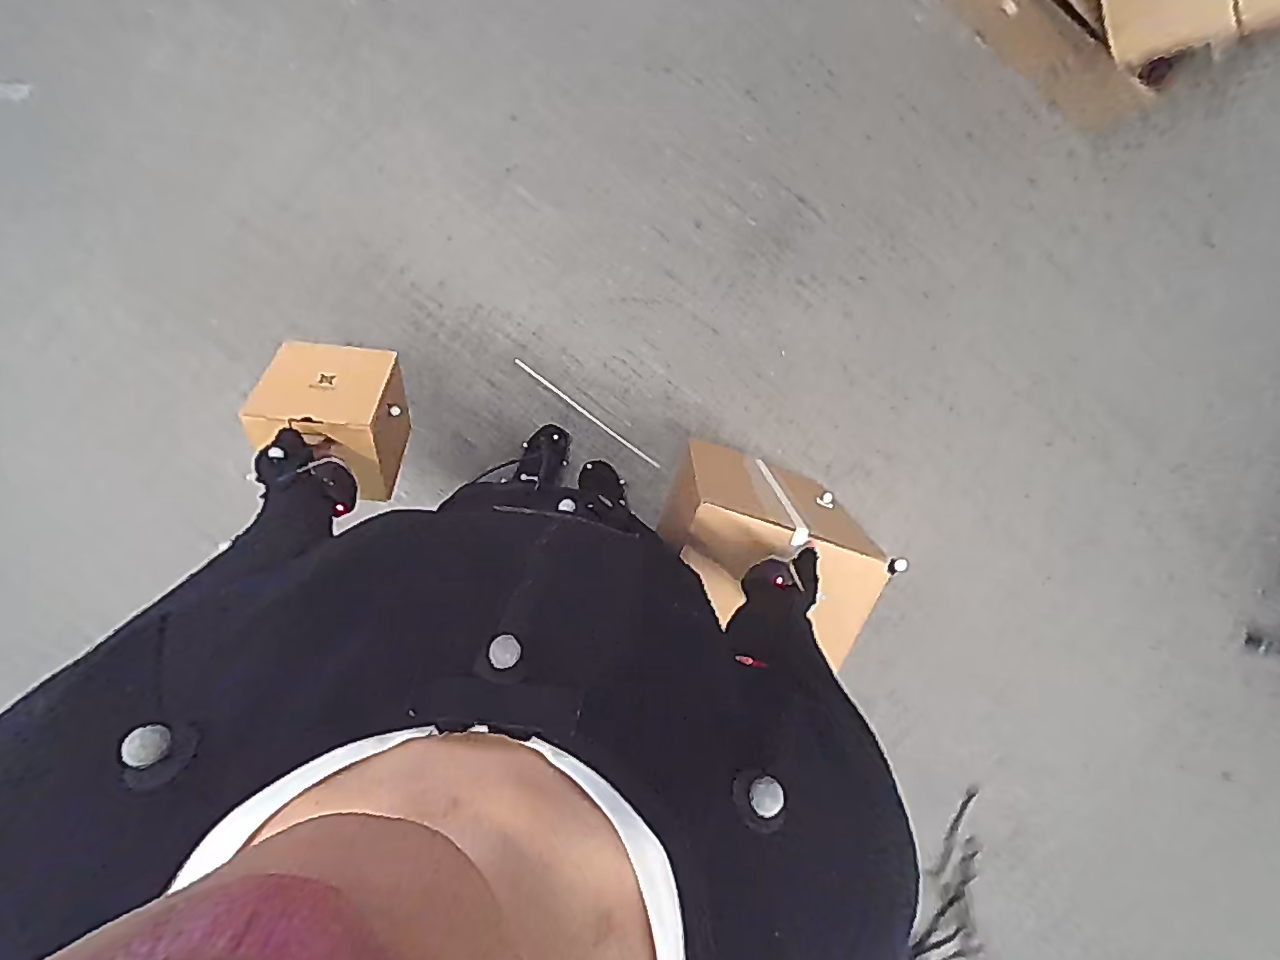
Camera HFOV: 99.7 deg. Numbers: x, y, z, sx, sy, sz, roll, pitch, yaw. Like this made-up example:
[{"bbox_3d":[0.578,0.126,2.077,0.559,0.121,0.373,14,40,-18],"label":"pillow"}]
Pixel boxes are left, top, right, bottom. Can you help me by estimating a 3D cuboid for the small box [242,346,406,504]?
[{"bbox_3d":[-0.478,-0.085,0.853,0.168,0.176,0.179,3,49,-11],"label":"small box"}]
